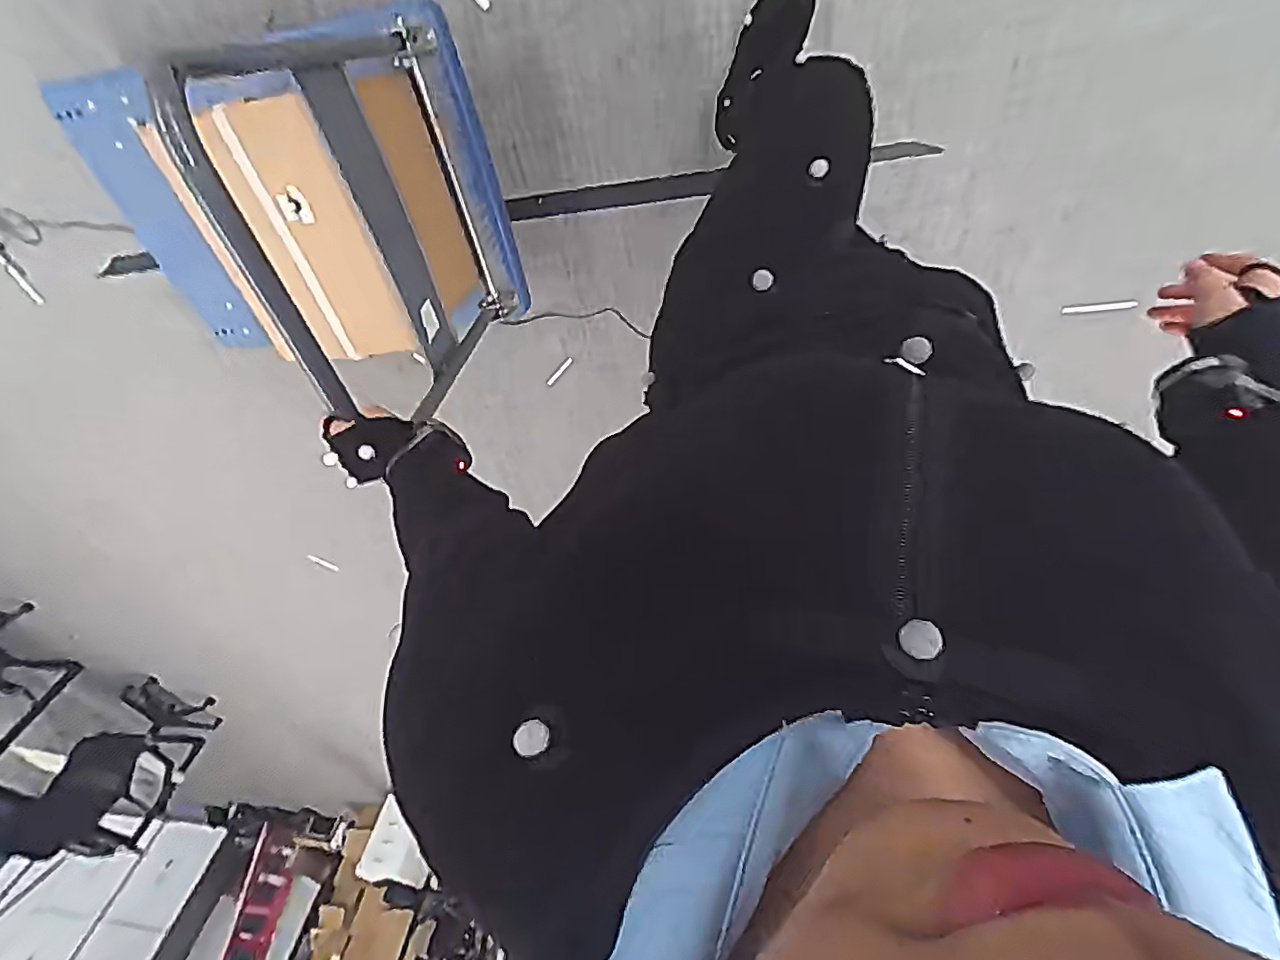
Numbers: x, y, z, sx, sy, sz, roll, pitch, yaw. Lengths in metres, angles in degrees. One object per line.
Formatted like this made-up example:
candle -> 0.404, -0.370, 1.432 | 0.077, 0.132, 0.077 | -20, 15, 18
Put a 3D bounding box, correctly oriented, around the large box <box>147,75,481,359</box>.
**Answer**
large box -> -0.558, -0.492, 1.034 | 0.320, 0.320, 0.408 | -3, 130, 10
